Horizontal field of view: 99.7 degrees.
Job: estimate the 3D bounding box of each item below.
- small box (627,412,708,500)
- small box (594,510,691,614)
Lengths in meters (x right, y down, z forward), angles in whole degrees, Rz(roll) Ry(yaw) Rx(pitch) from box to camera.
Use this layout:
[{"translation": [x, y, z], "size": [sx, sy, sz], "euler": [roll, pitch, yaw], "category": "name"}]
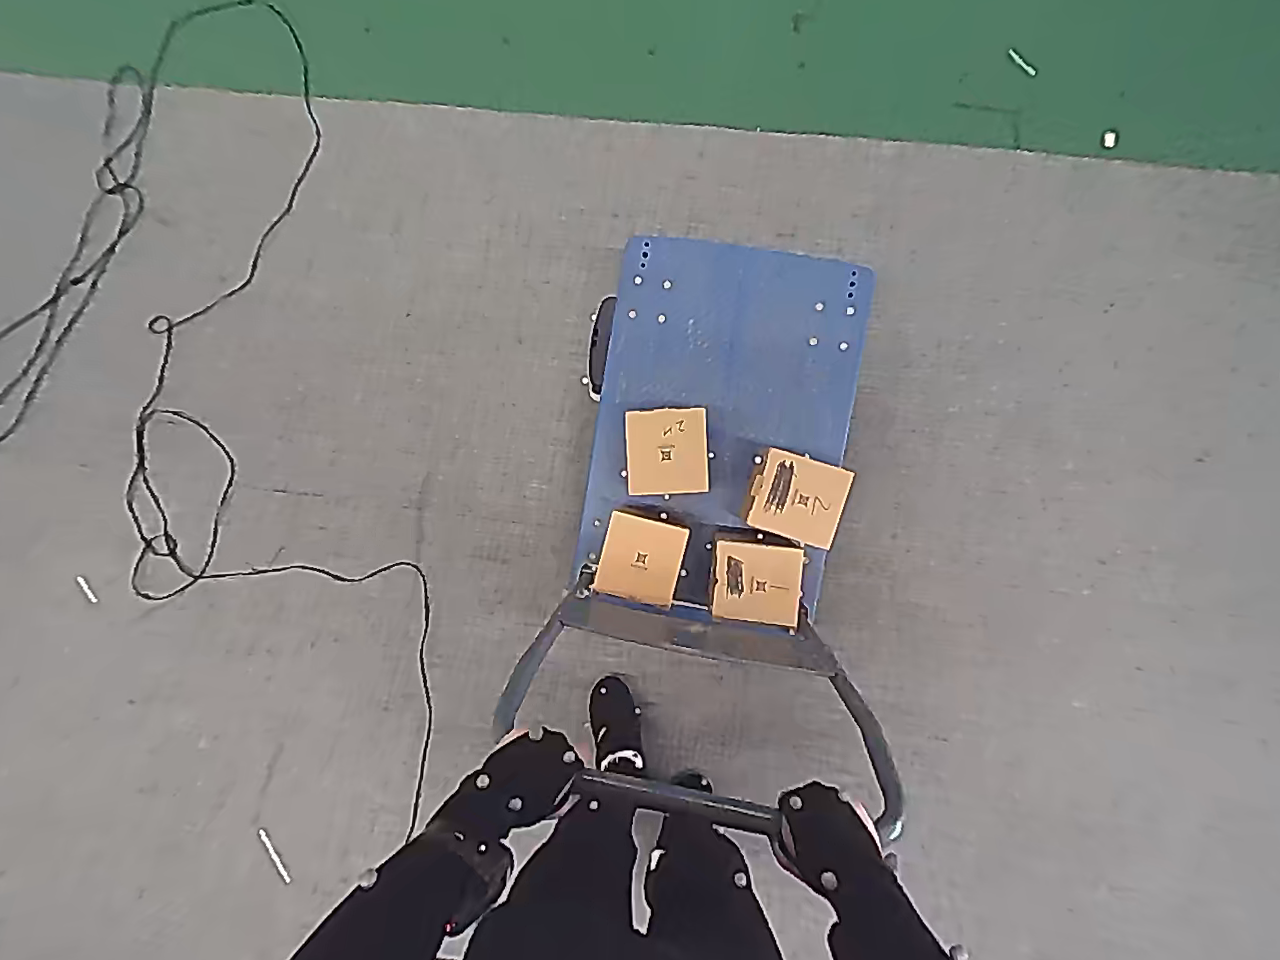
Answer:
[{"translation": [0.063, -0.051, 1.178], "size": [0.168, 0.176, 0.179], "euler": [-2, 90, 4], "category": "small box"}, {"translation": [0.009, 0.170, 1.188], "size": [0.168, 0.176, 0.179], "euler": [15, 92, 4], "category": "small box"}]
